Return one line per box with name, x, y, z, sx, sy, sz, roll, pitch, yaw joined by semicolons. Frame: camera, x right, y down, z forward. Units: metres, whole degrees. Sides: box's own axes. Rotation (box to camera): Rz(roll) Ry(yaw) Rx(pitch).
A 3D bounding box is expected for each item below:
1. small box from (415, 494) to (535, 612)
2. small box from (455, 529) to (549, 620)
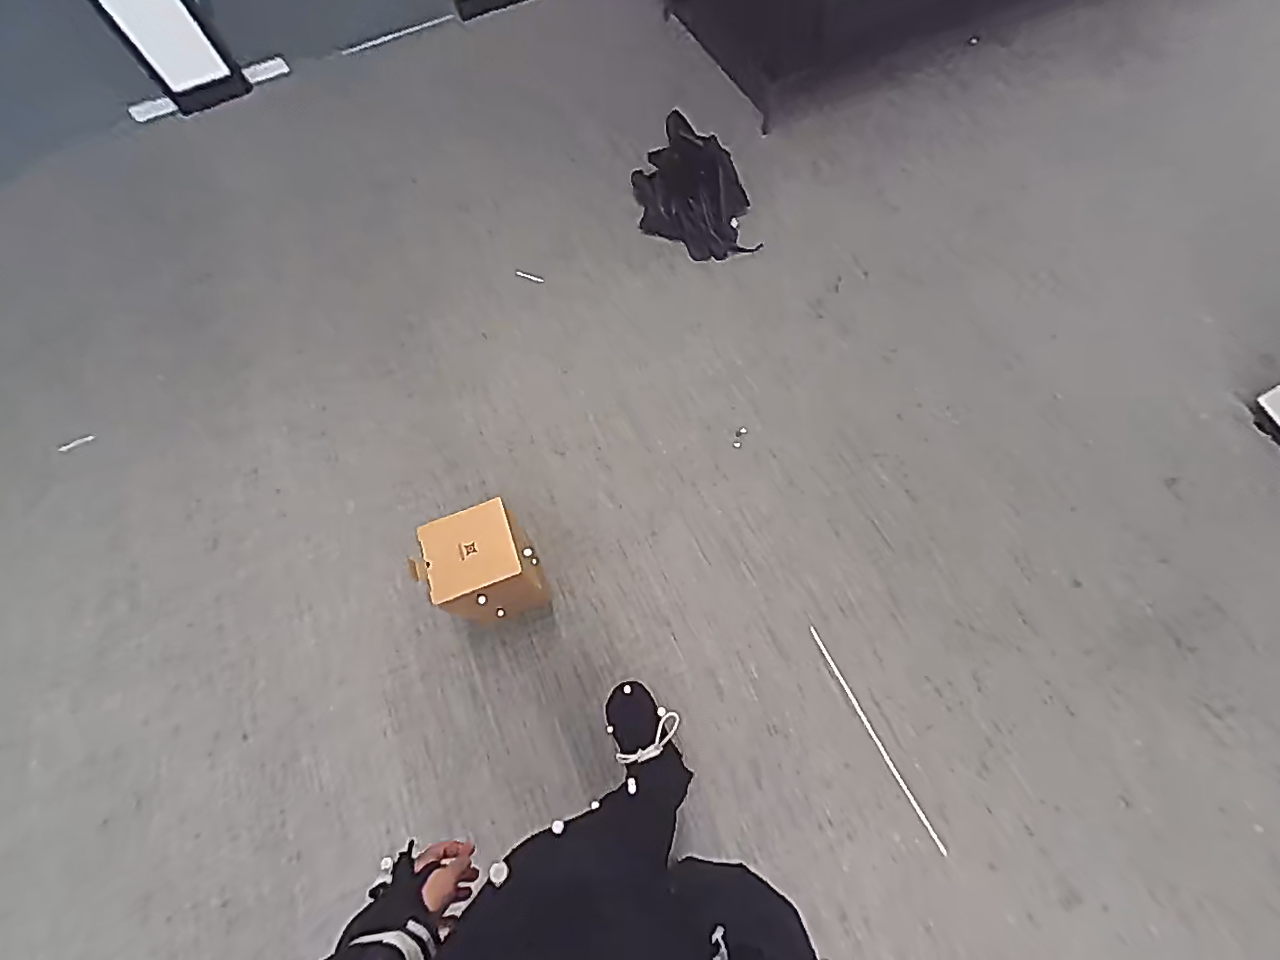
small box;-0.325;0.155;1.102;0.179;0.176;0.168;-21;68;-5
small box;-0.332;0.213;1.256;0.179;0.176;0.168;-21;68;-4
